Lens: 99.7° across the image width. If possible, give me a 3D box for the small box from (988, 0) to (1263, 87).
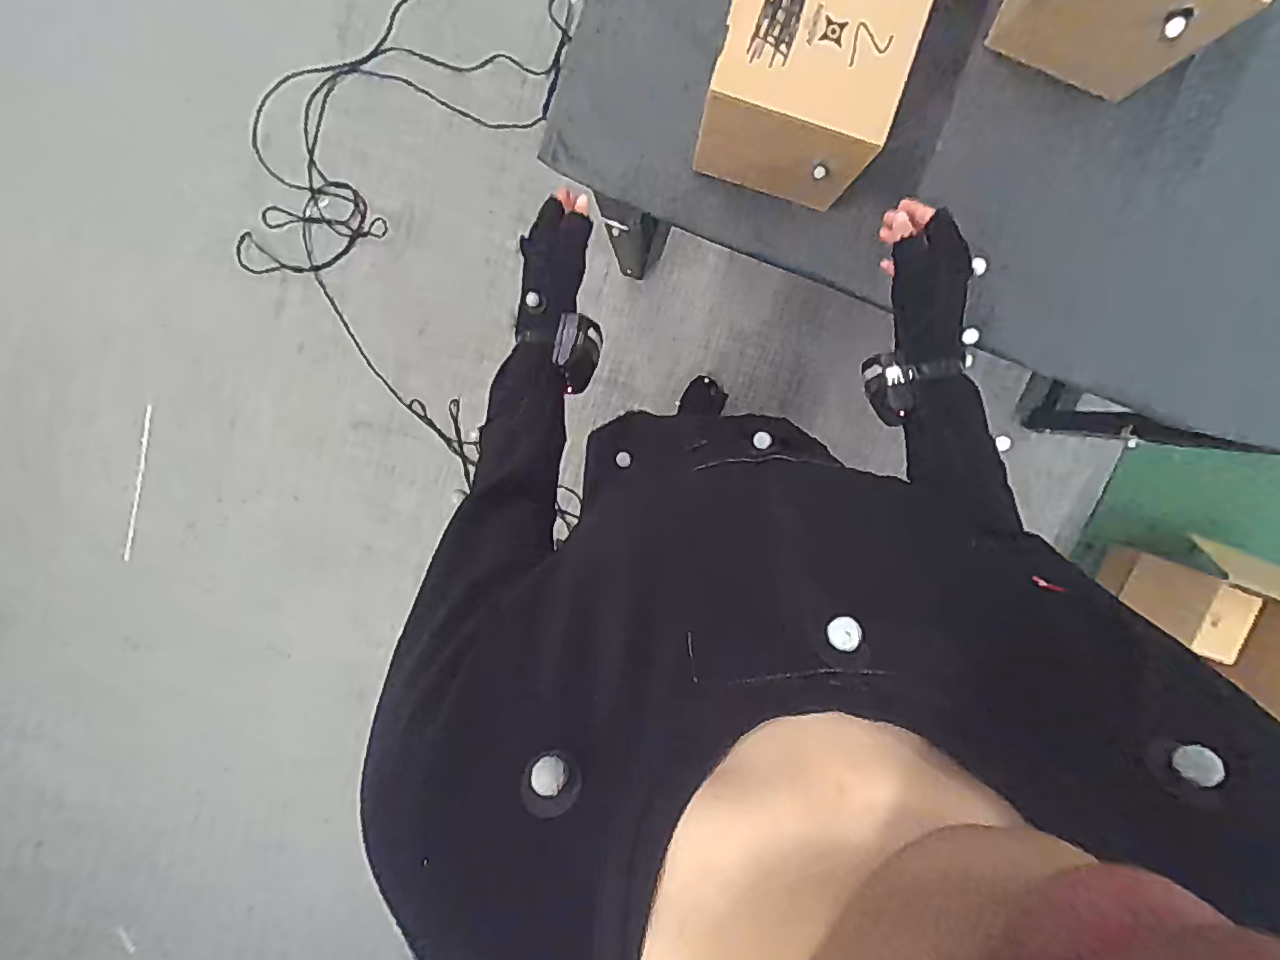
[{"bbox_3d":[0.507,-0.542,0.541,0.179,0.176,0.168,22,99,-1],"label":"small box"}]
